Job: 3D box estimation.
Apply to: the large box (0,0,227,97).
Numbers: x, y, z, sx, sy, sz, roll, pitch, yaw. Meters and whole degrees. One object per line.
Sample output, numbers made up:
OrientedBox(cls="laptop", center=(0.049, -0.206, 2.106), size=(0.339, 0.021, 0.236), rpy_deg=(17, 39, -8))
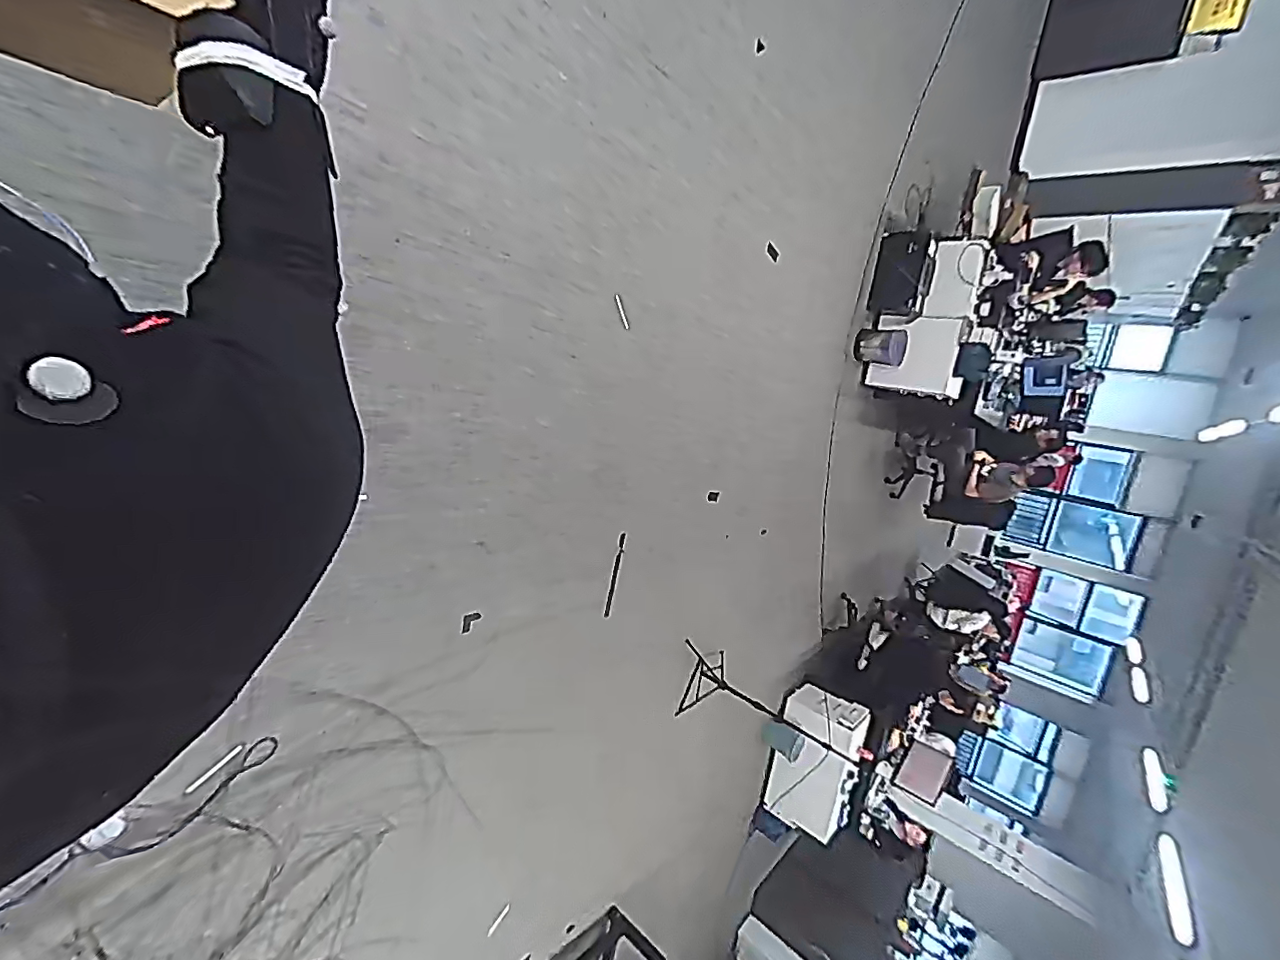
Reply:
OrientedBox(cls="large box", center=(-0.522, -0.495, 0.304), size=(0.408, 0.320, 0.320), rpy_deg=(-6, 111, -50))
